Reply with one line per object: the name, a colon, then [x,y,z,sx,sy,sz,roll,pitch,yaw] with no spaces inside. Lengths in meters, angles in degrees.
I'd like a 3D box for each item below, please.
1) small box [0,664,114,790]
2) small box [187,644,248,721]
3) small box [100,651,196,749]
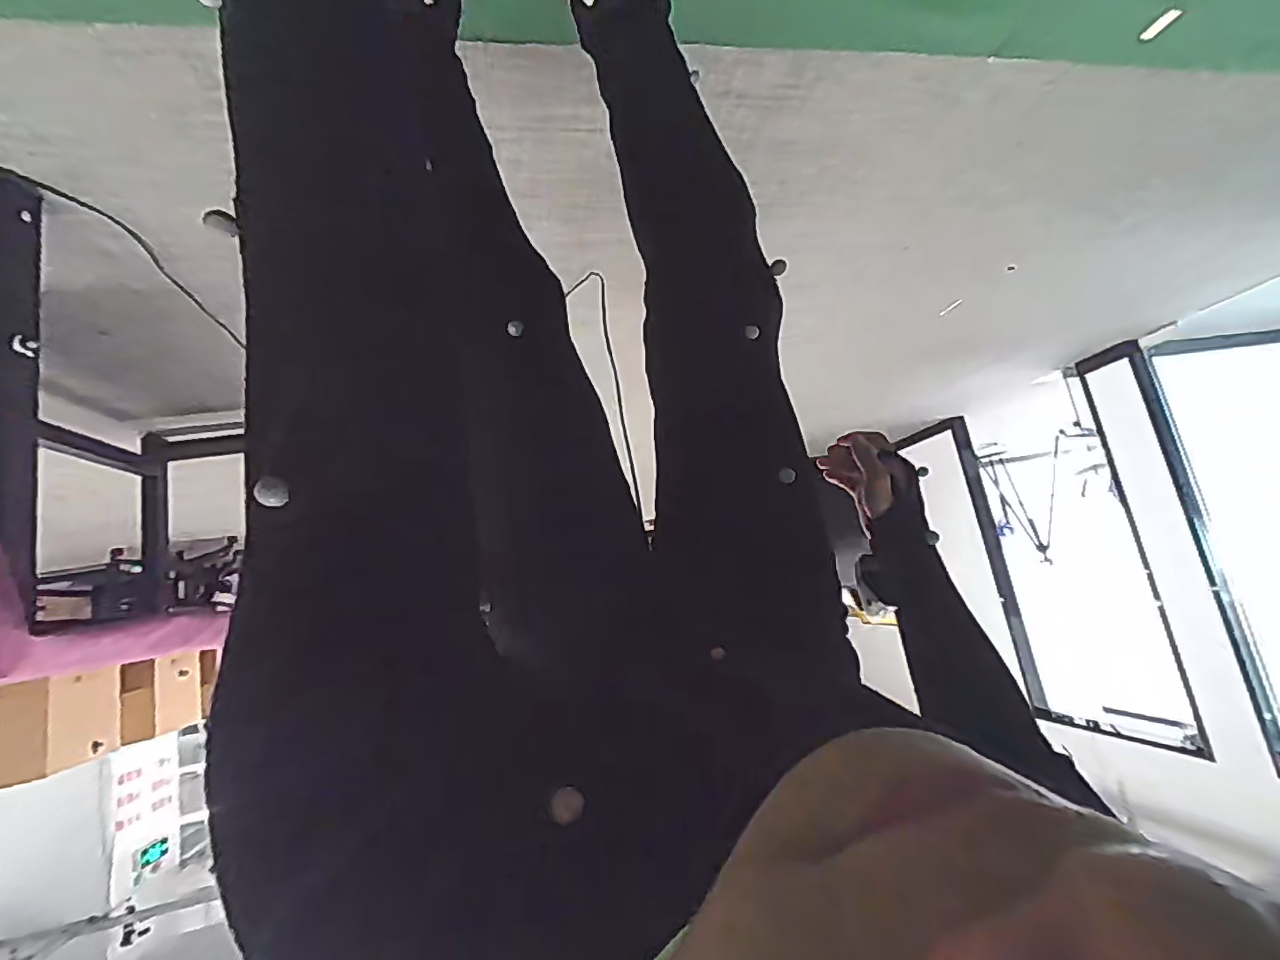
small box: [-1.047,0.416,0.915,0.179,0.176,0.168,-7,170,-13]
small box: [-1.135,0.519,1.376,0.179,0.176,0.168,-8,169,-12]
small box: [-1.089,0.468,1.151,0.179,0.176,0.168,-8,170,-14]
